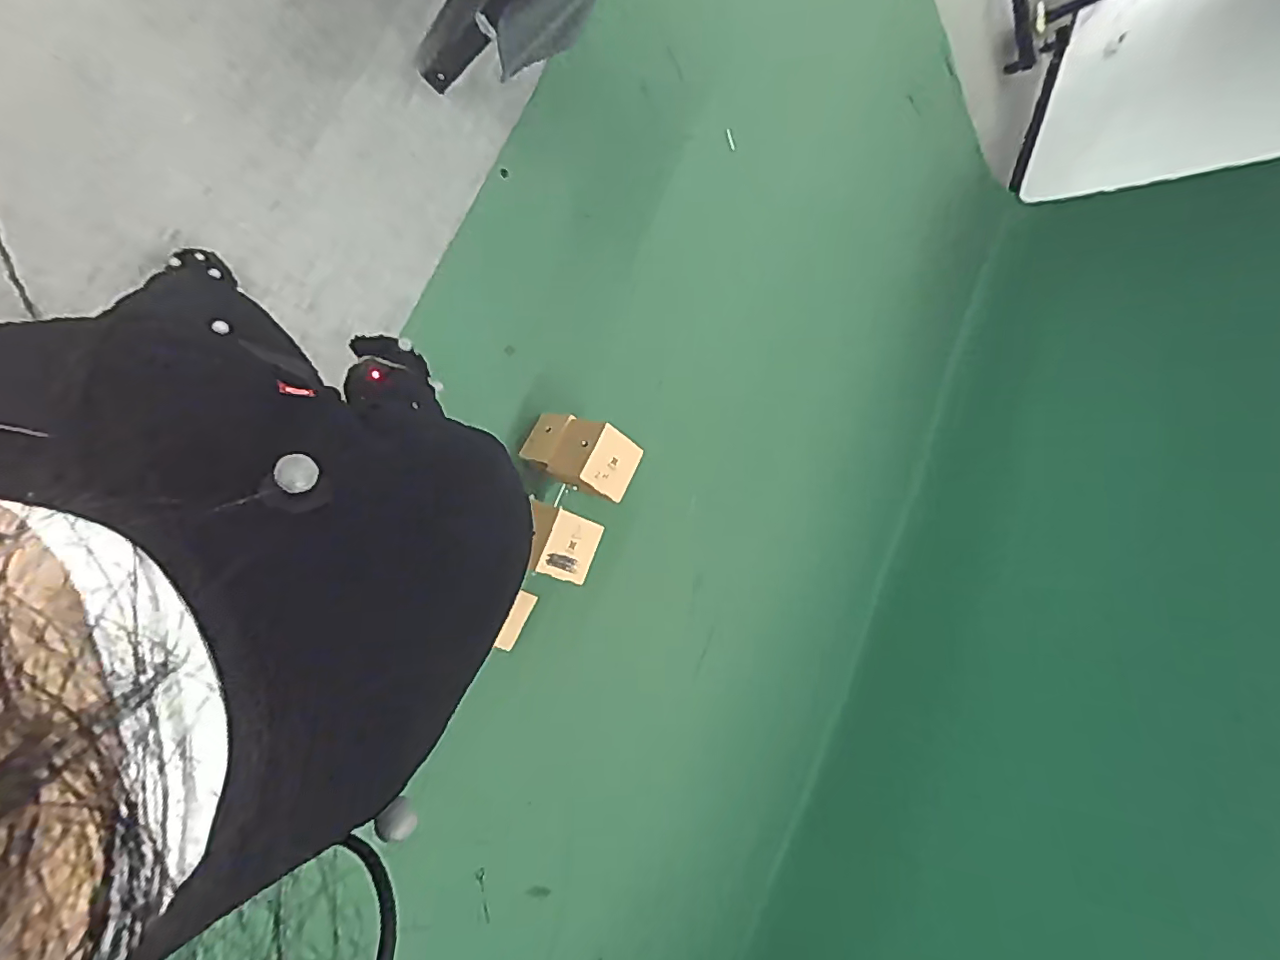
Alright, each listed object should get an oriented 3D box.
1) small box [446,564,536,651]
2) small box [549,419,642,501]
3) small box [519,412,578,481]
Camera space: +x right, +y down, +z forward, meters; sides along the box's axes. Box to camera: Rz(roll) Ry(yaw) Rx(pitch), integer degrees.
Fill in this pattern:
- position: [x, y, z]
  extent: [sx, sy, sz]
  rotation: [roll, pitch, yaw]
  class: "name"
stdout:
- position: [-0.443, 0.370, 1.586]
  extent: [0.168, 0.176, 0.179]
  rotation: [36, 75, -40]
  class: "small box"
- position: [-0.131, -0.062, 1.555]
  extent: [0.168, 0.176, 0.179]
  rotation: [36, 74, -39]
  class: "small box"
- position: [-0.242, -0.097, 1.673]
  extent: [0.179, 0.176, 0.168]
  rotation: [38, 73, -39]
  class: "small box"
